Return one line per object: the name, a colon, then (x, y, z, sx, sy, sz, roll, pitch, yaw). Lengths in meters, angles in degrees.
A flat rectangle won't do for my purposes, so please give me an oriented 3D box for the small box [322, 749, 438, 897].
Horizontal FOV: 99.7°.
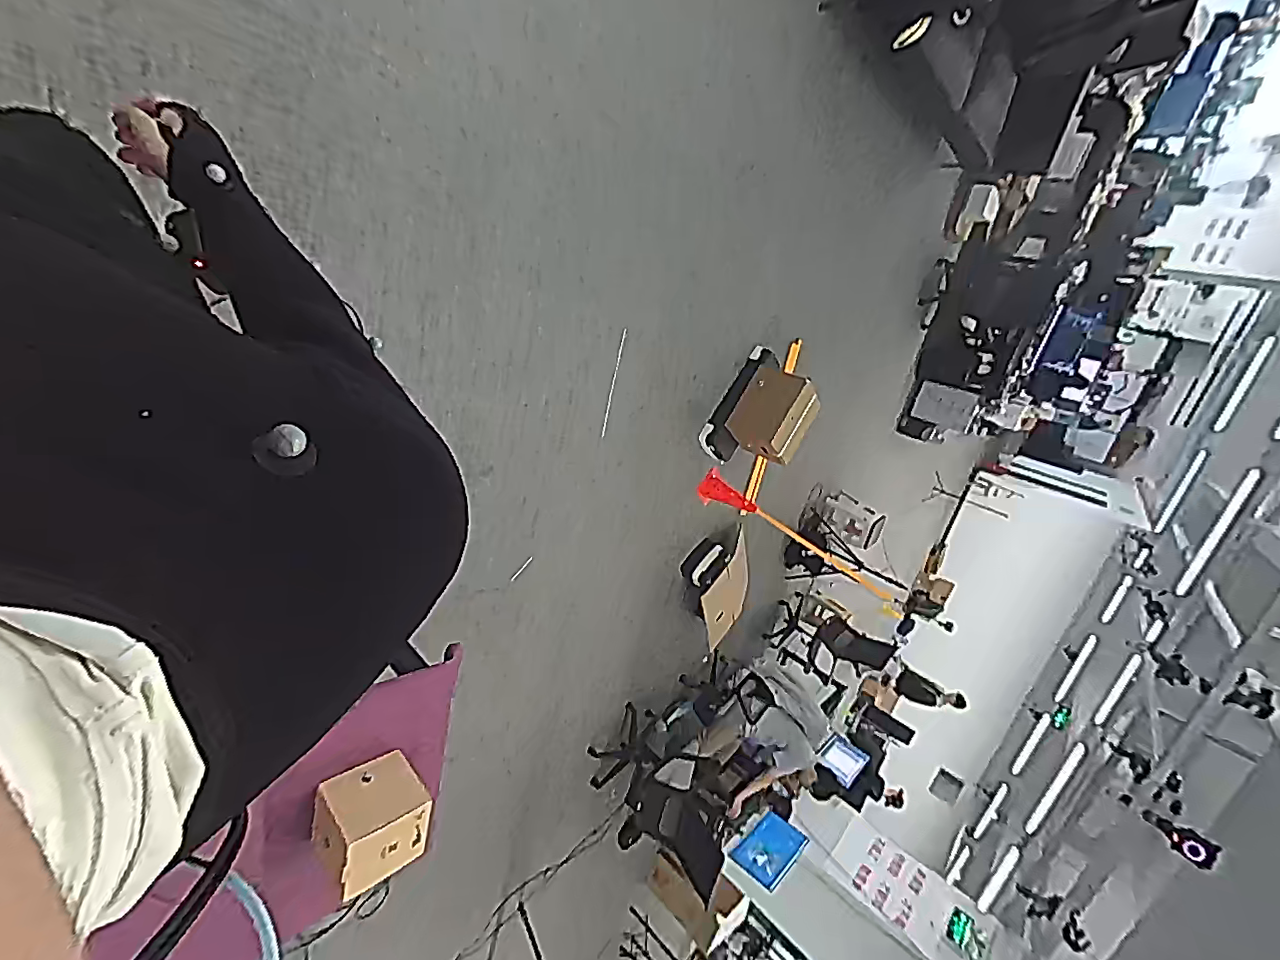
small box: (-0.571, 0.735, 1.179, 0.179, 0.176, 0.168, -6, 117, -49)
